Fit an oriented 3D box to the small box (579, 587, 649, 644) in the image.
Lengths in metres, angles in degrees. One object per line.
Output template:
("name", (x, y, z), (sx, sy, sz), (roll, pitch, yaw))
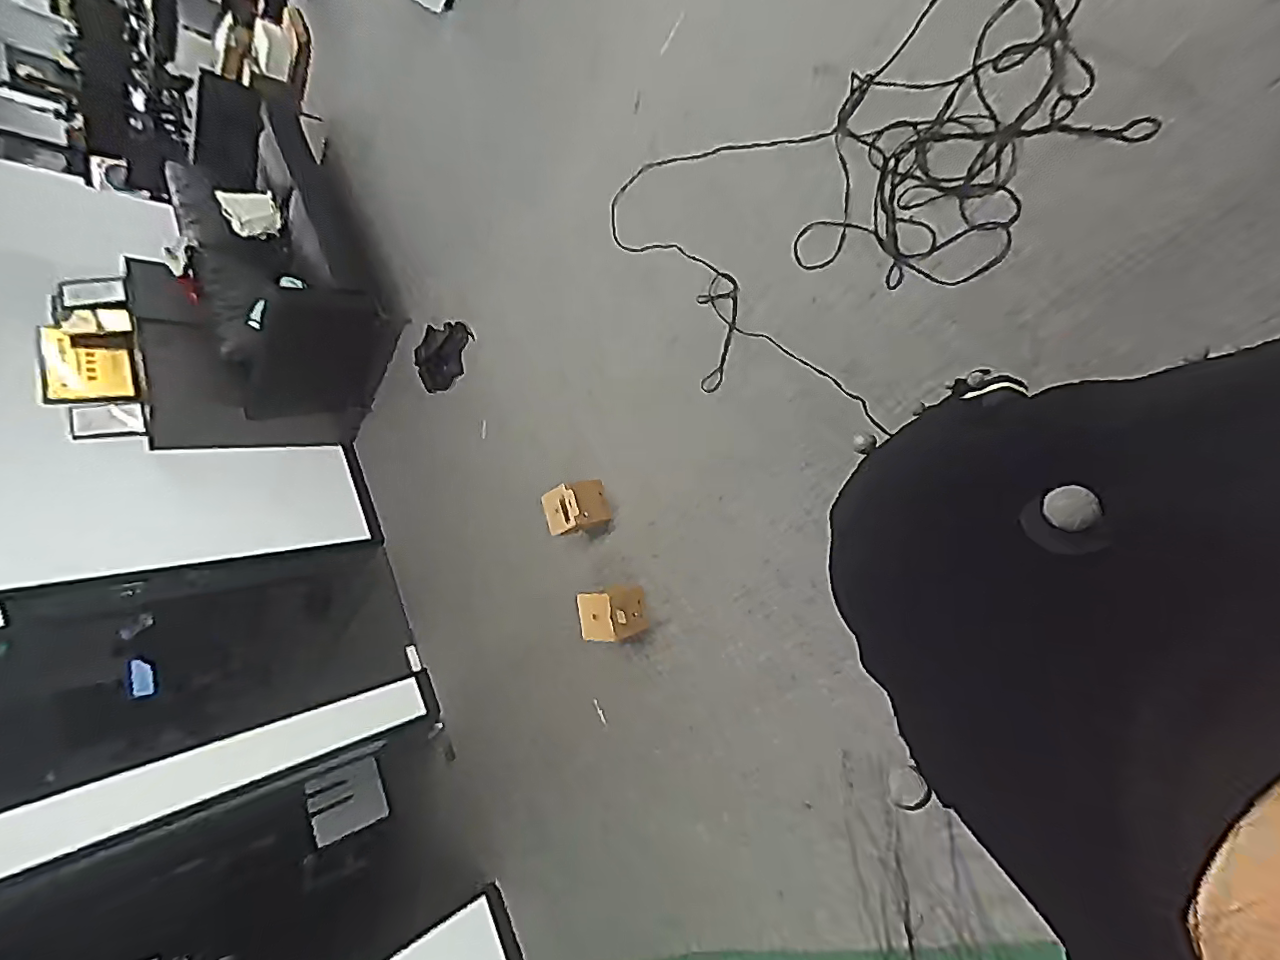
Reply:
("small box", (-0.094, 0.487, 1.959), (0.179, 0.176, 0.168), (-13, 84, 43))
